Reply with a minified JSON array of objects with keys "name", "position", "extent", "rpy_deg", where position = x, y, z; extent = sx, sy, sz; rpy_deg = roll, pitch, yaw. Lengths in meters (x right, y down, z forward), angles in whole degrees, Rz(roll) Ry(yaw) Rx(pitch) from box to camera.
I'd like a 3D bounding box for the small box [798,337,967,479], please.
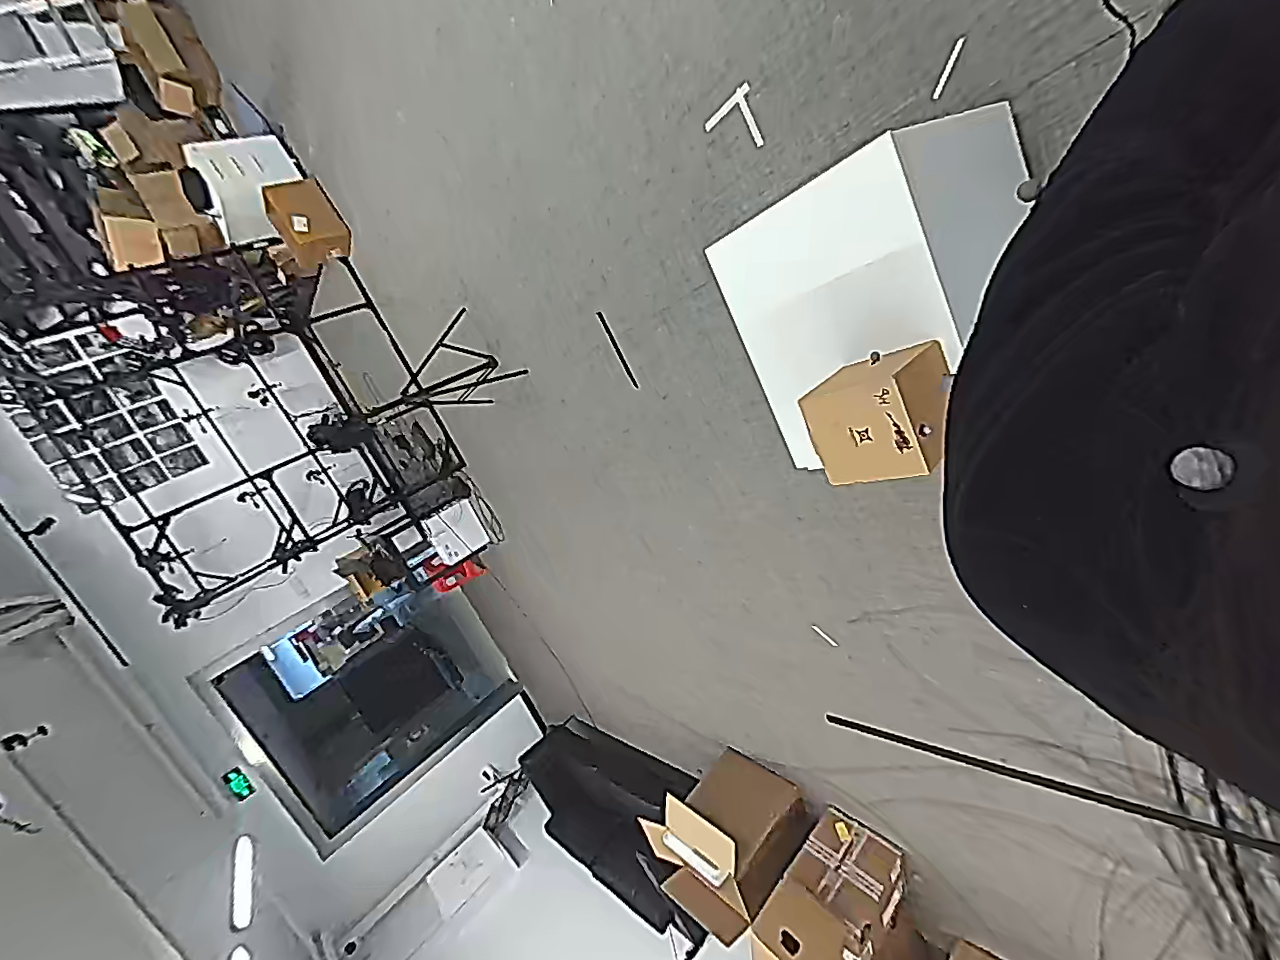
[{"name":"small box","position":[0.404,-0.116,0.903],"extent":[0.179,0.176,0.168],"rpy_deg":[-9,111,55]}]
